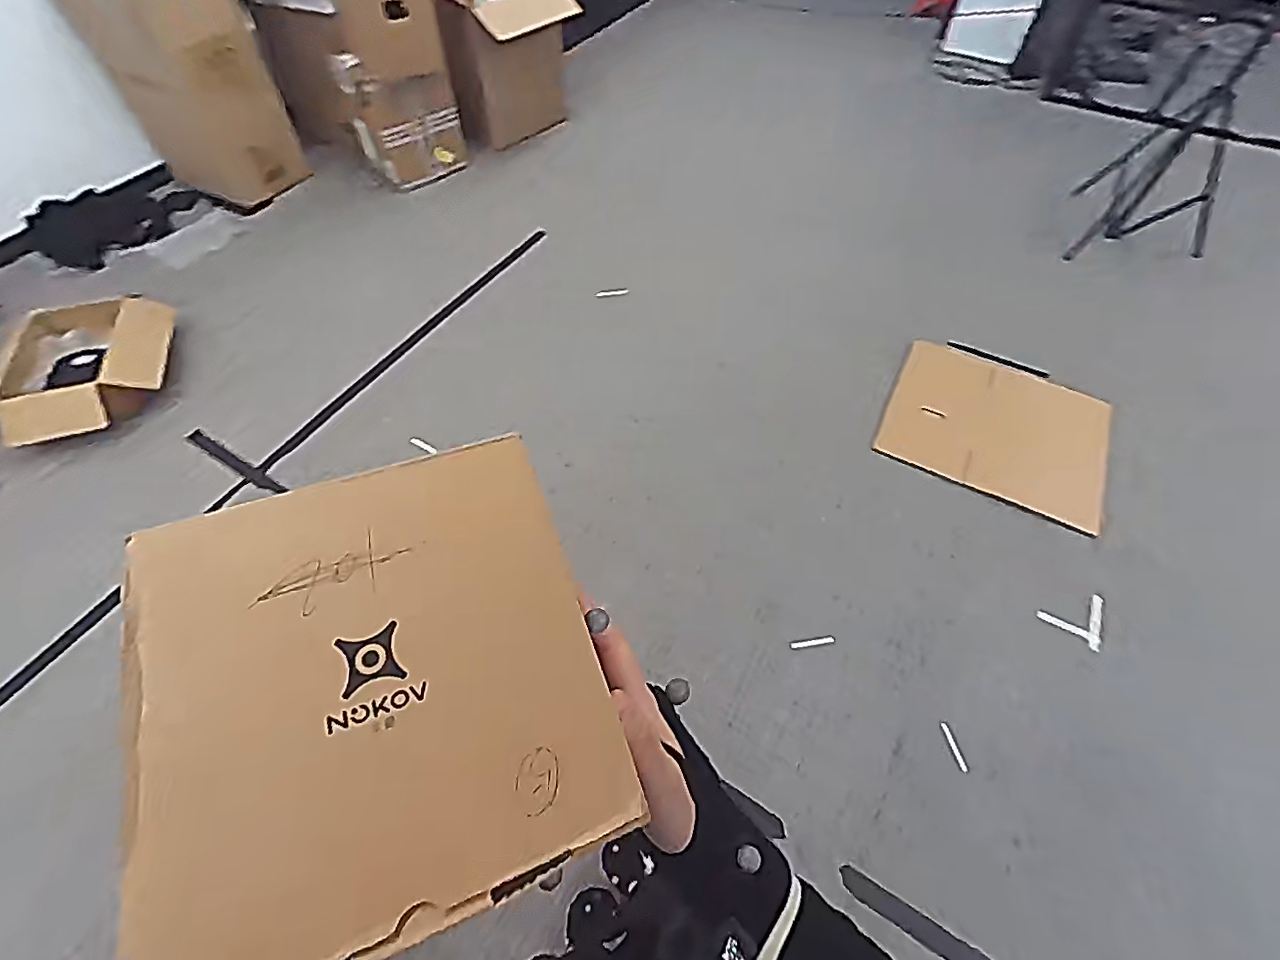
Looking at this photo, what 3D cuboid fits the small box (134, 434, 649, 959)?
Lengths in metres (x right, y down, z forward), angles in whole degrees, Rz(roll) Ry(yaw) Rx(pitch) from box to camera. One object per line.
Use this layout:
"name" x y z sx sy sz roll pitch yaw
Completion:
"small box" -0.108 0.108 0.280 0.168 0.176 0.179 -17 65 -16
